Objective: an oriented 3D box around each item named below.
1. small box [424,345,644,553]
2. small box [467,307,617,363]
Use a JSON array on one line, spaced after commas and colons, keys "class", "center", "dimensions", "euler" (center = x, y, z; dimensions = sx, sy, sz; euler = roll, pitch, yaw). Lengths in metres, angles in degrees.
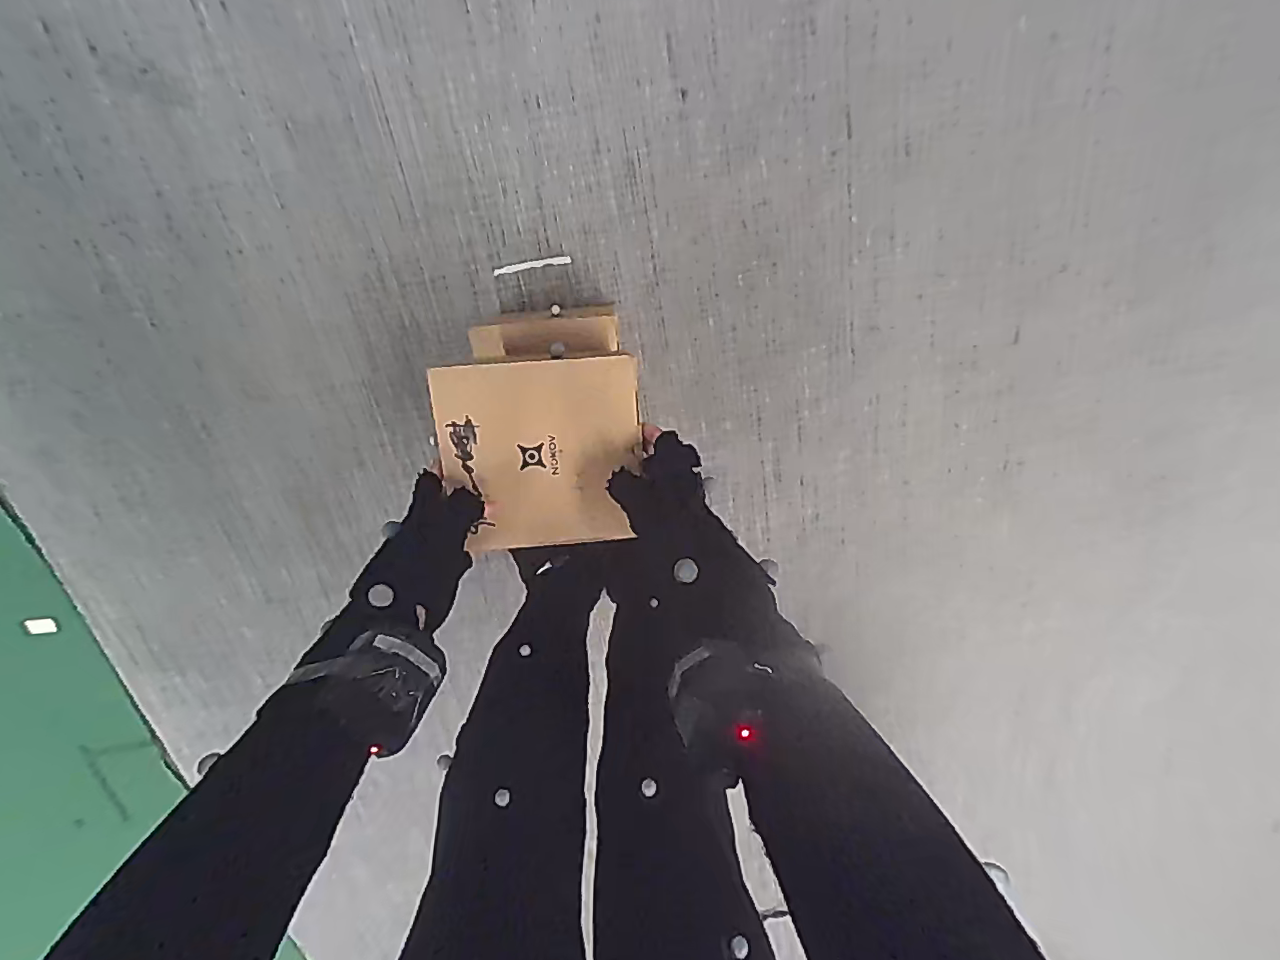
[{"class": "small box", "center": [-0.095, -0.043, 0.557], "dimensions": [0.179, 0.176, 0.168], "euler": [-7, 109, -1]}, {"class": "small box", "center": [-0.116, -0.140, 0.739], "dimensions": [0.179, 0.176, 0.168], "euler": [-5, 112, 0]}]
